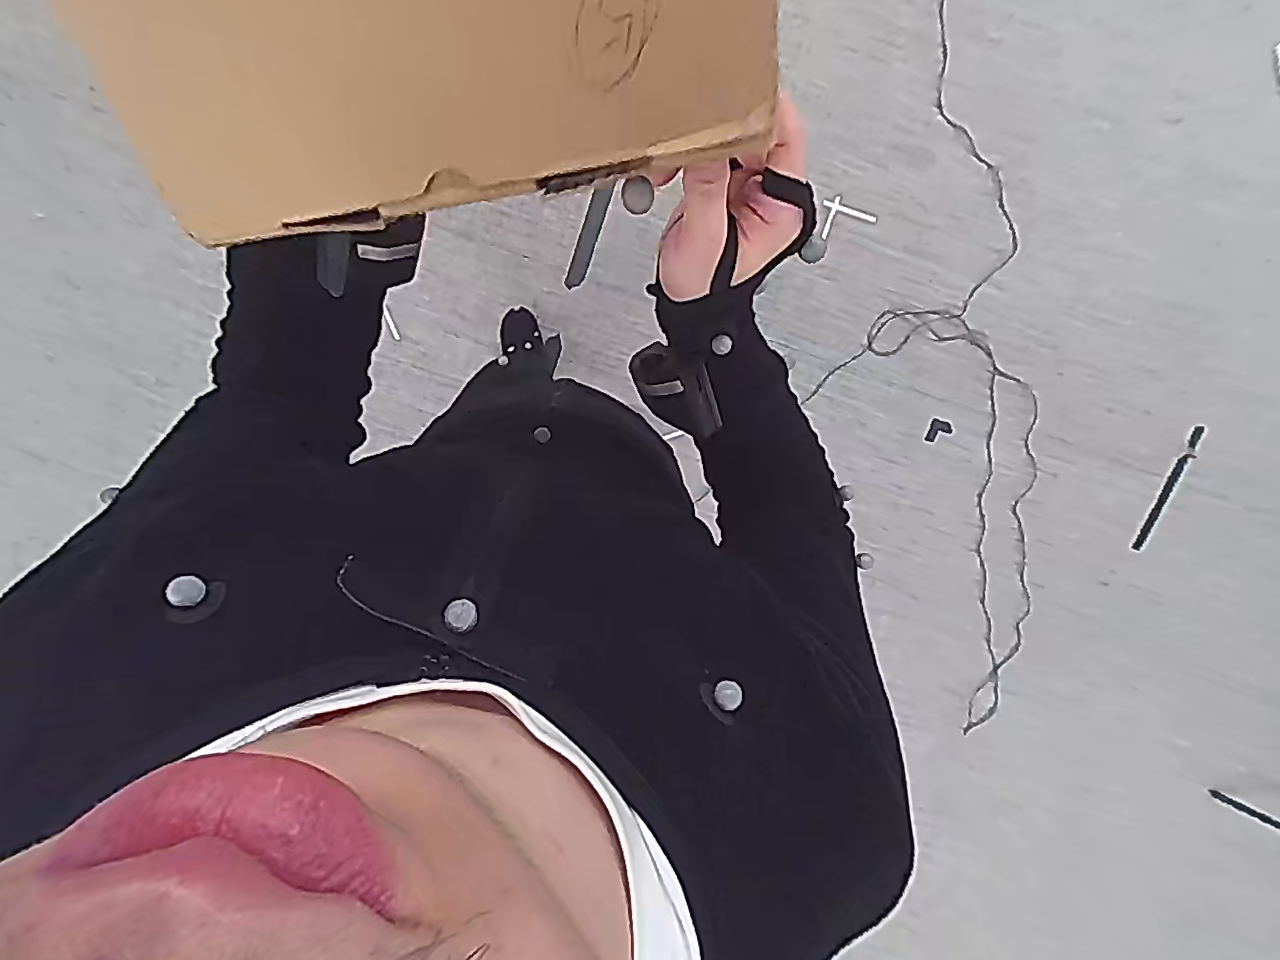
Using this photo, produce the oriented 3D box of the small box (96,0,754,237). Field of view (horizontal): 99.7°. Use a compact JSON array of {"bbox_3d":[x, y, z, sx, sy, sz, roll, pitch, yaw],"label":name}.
[{"bbox_3d":[-0.052,-0.195,0.176,0.168,0.176,0.179,-5,120,11],"label":"small box"}]
